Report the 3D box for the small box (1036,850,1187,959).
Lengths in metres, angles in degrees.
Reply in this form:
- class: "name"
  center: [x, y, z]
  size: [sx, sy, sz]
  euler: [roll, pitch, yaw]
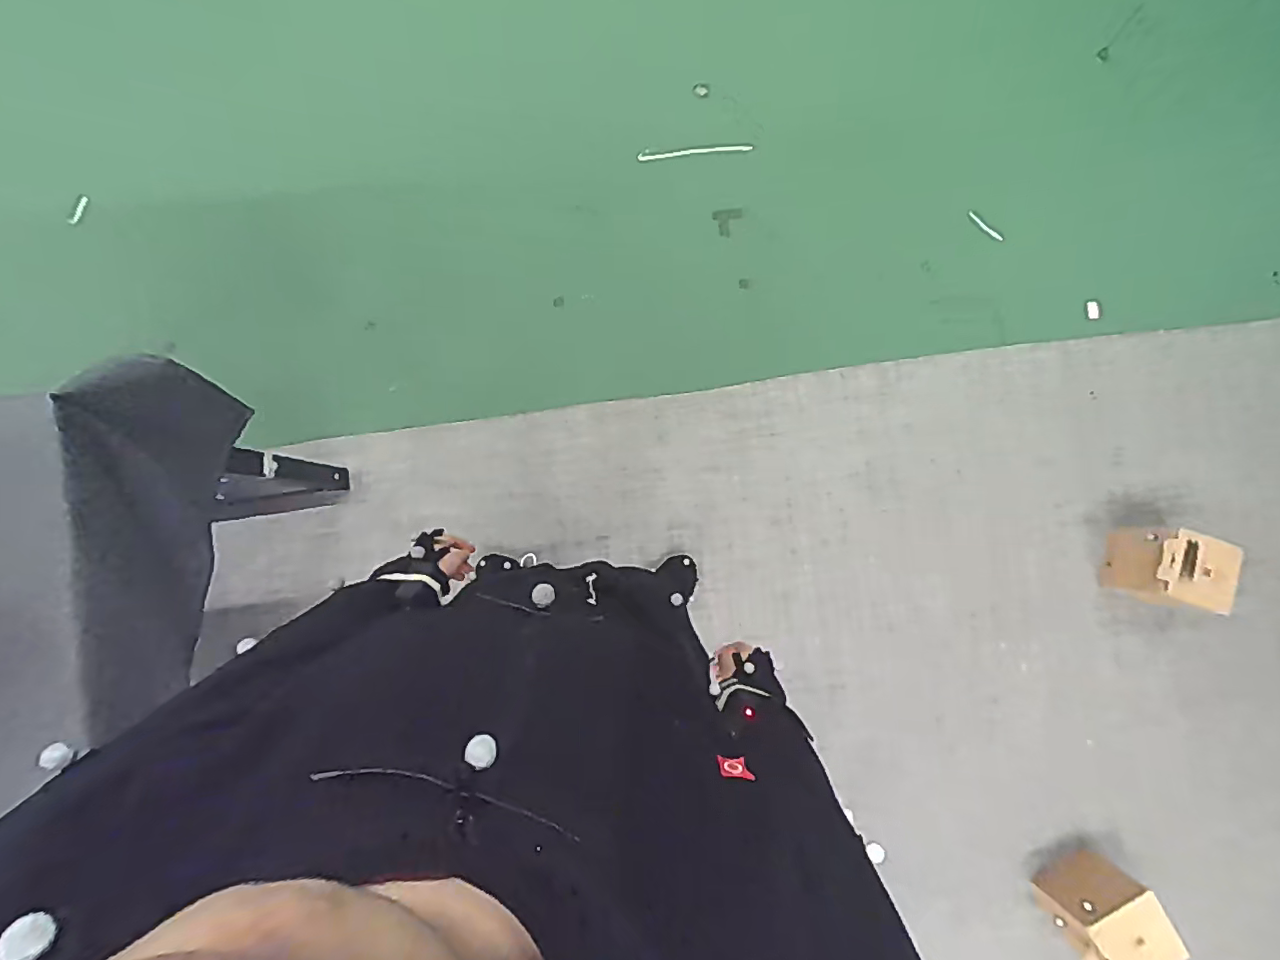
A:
- class: "small box"
  center: [1.095, 1.025, 1.271]
  size: [0.179, 0.176, 0.168]
  euler: [-28, 87, -3]
